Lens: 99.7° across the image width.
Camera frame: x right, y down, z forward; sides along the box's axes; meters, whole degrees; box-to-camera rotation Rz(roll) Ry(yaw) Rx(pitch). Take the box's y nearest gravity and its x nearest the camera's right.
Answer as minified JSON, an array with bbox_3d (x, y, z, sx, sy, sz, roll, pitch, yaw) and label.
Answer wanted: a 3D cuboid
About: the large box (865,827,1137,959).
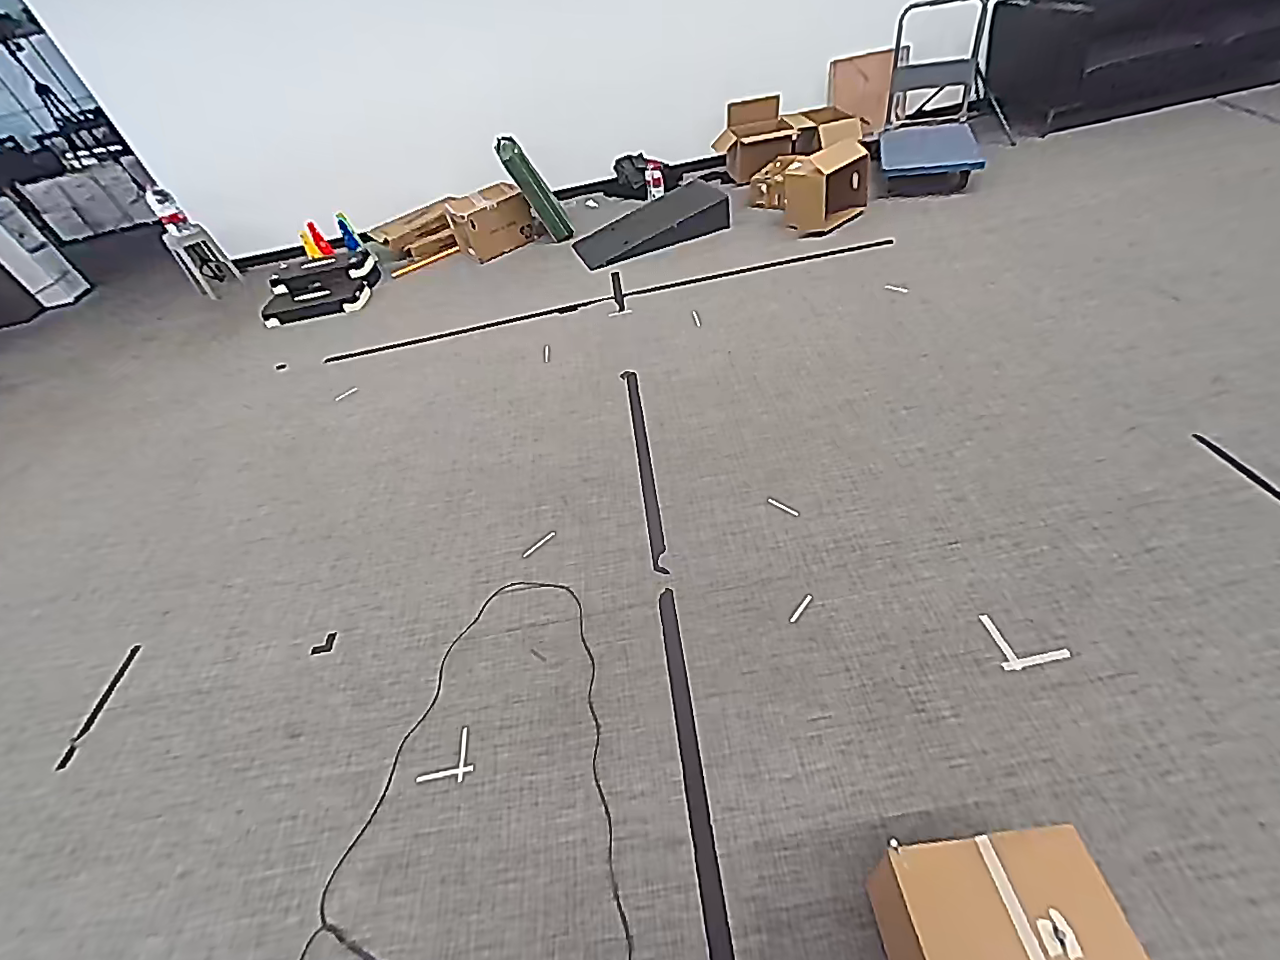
[{"bbox_3d":[0.615,0.863,0.893,0.320,0.320,0.408,-9,43,2],"label":"large box"}]
